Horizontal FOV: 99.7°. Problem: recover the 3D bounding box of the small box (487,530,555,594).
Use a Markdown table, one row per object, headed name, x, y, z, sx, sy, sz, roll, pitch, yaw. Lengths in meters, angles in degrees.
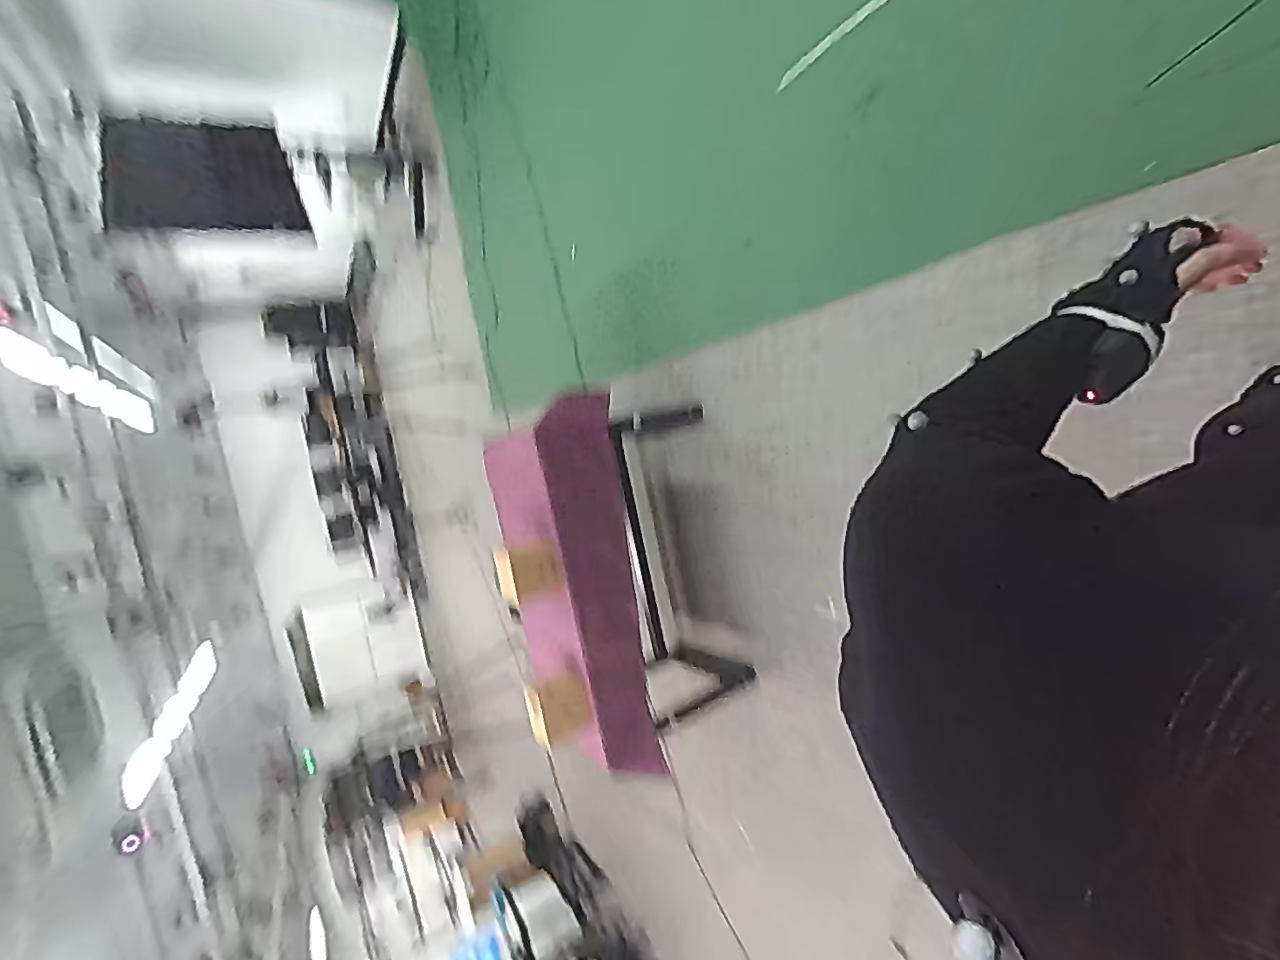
| name | x | y | z | sx | sy | sz | roll | pitch | yaw |
| --- | --- | --- | --- | --- | --- | --- | --- | --- | --- |
| small box | -0.403 | 0.274 | 1.852 | 0.179 | 0.176 | 0.168 | 0 | 101 | 57 |
